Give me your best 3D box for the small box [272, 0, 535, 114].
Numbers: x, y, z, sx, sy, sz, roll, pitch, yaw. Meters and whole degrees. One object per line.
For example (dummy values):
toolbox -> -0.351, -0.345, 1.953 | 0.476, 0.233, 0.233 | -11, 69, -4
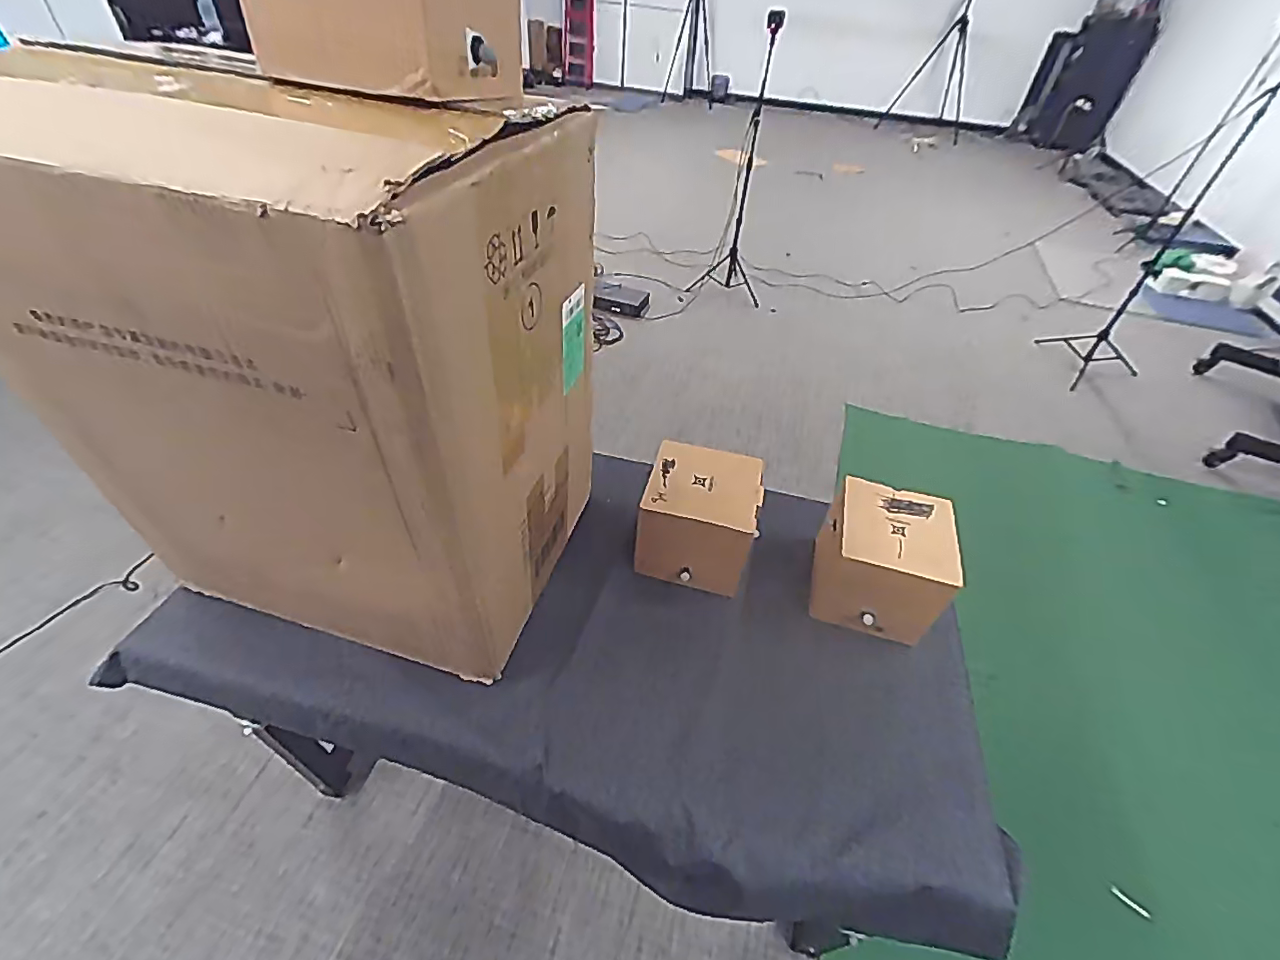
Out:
small box -> -0.207, -0.438, 0.482 | 0.179, 0.176, 0.168 | 15, 40, 9

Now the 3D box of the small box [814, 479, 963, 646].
small box -> 0.388, 0.132, 0.870 | 0.168, 0.176, 0.179 | 14, 46, 10
